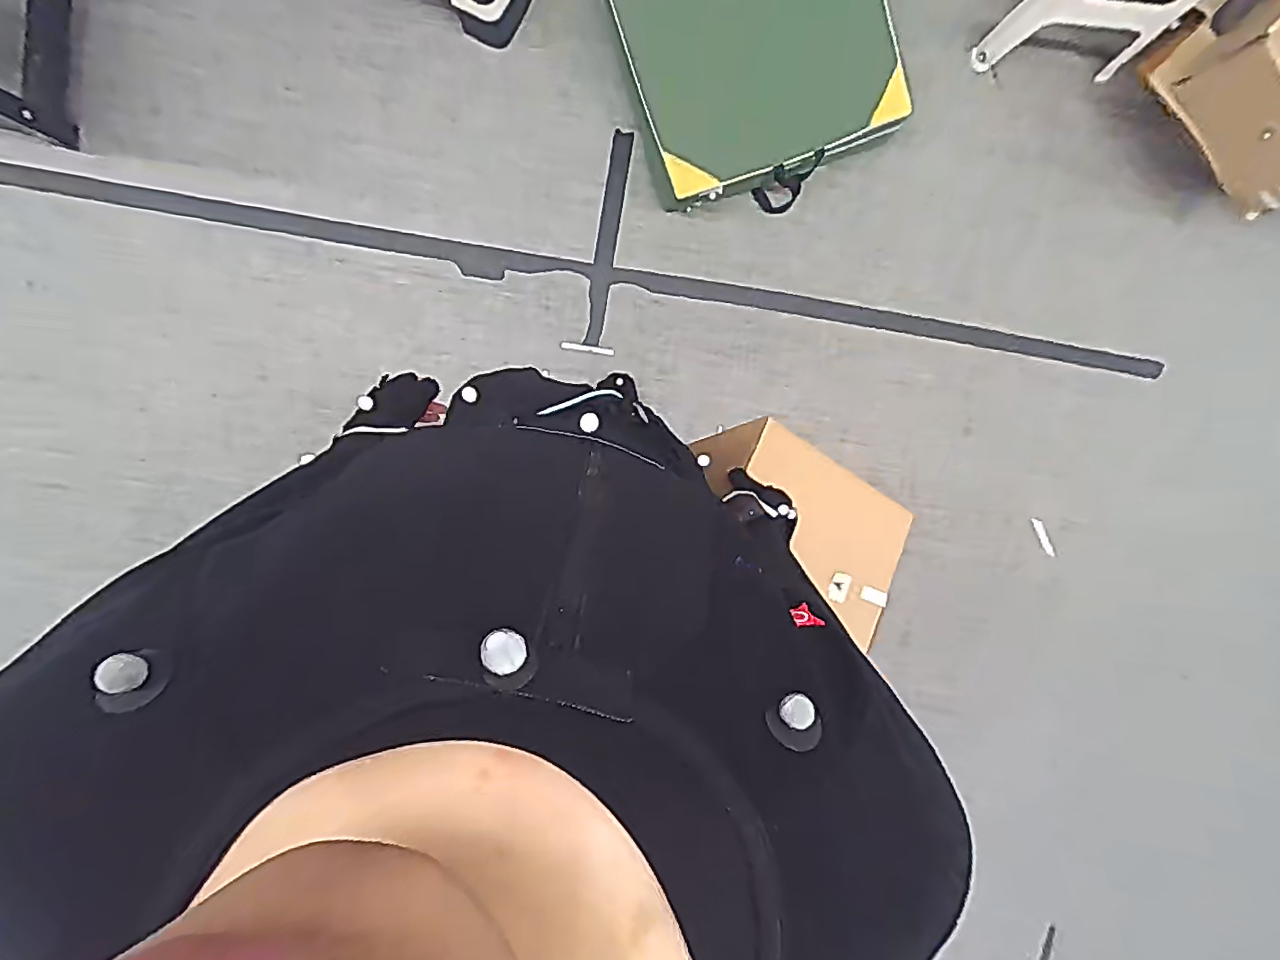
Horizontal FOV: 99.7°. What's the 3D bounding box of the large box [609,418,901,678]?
[{"bbox_3d":[0.189,0.128,1.006,0.320,0.408,0.320,30,76,-13],"label":"large box"}]
